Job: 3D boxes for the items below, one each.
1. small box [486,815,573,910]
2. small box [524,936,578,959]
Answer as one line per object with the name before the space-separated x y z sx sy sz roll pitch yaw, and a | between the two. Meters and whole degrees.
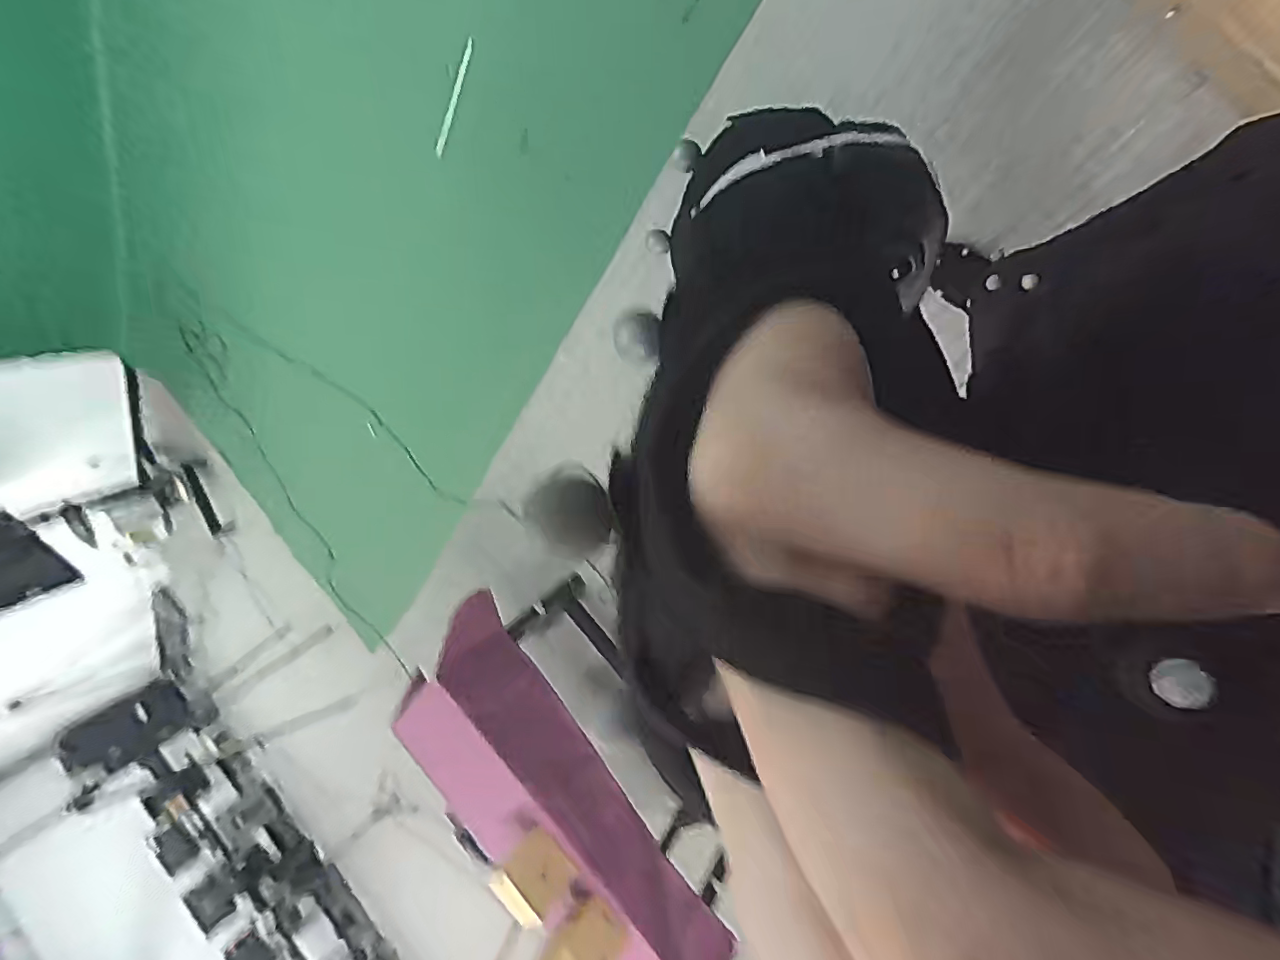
small box | -0.344 1.202 1.702 0.179 0.176 0.168 48 130 7
small box | -0.264 1.457 1.553 0.168 0.176 0.179 46 131 9
